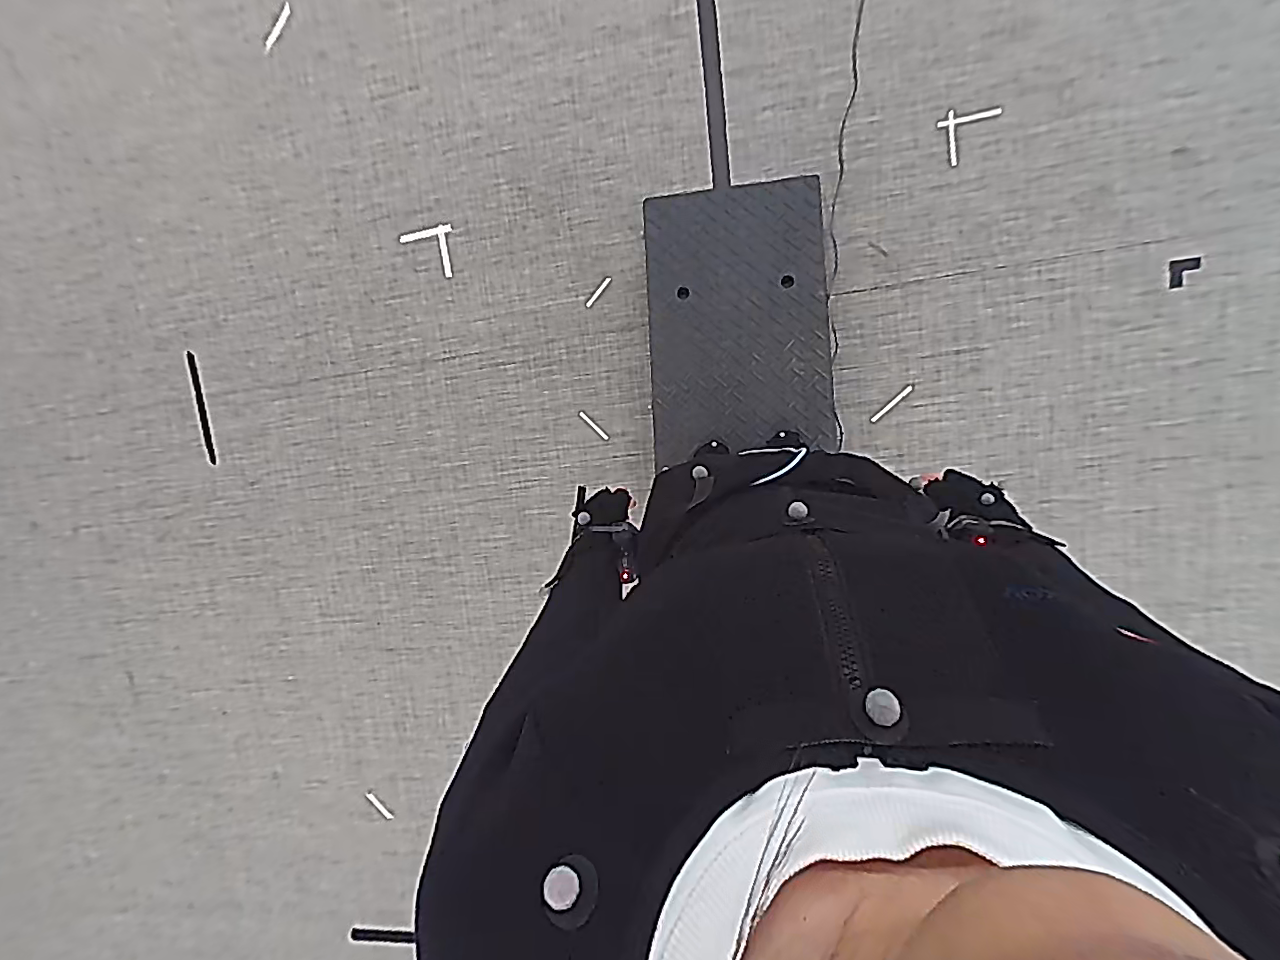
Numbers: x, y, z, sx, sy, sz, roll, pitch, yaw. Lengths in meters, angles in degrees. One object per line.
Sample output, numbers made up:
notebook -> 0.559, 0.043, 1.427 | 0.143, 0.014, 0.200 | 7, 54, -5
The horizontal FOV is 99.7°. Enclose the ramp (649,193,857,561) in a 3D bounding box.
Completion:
ramp -> 0.291, -0.289, 1.499 | 0.509, 0.206, 0.991 | -6, 93, 12
